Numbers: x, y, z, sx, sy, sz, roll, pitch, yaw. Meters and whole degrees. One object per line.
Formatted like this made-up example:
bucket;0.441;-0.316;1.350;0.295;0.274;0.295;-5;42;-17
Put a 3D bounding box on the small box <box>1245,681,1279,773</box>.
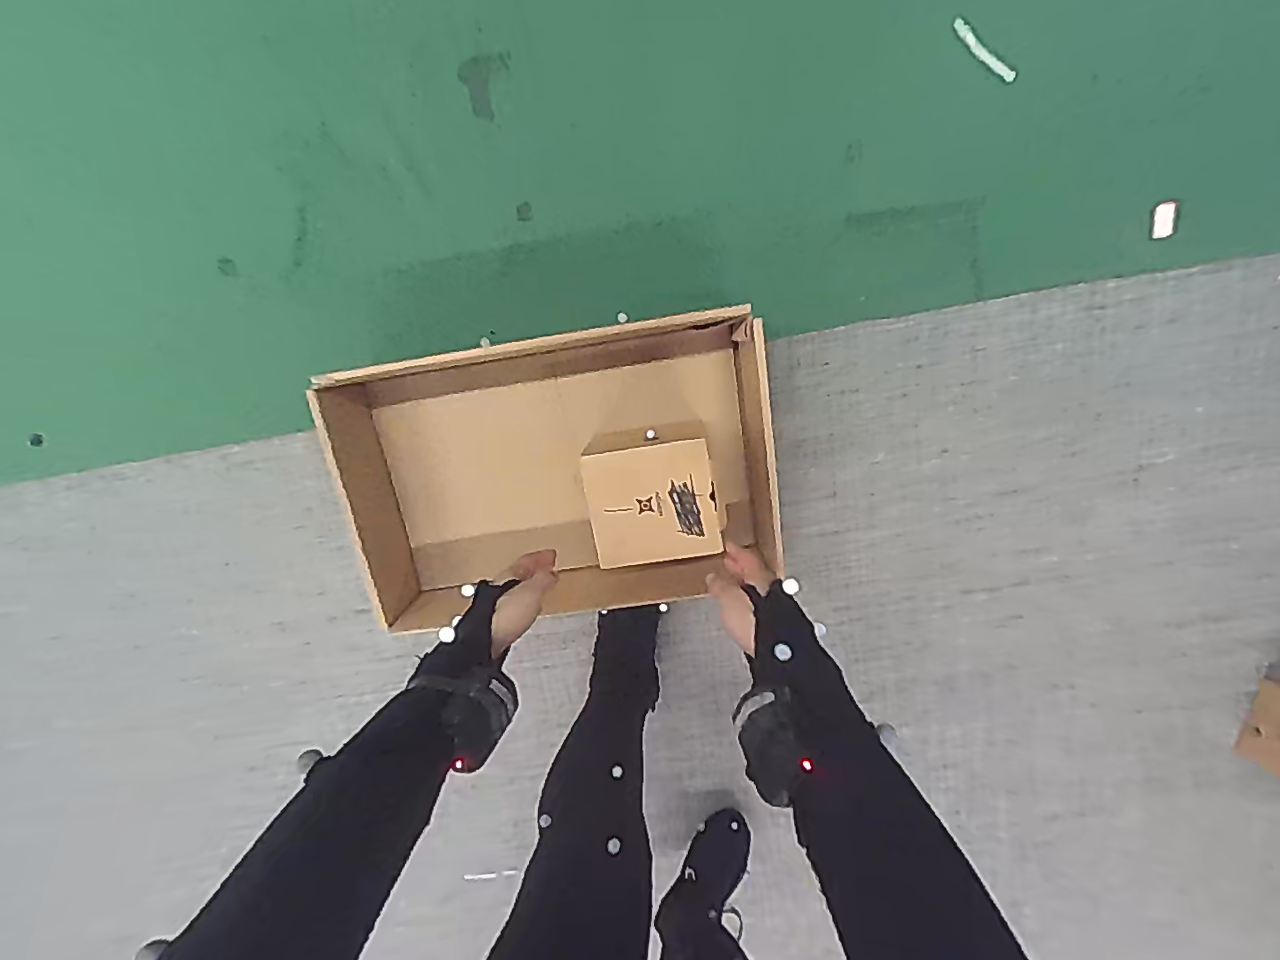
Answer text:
small box;1.227;0.459;0.930;0.179;0.176;0.168;2;104;1
